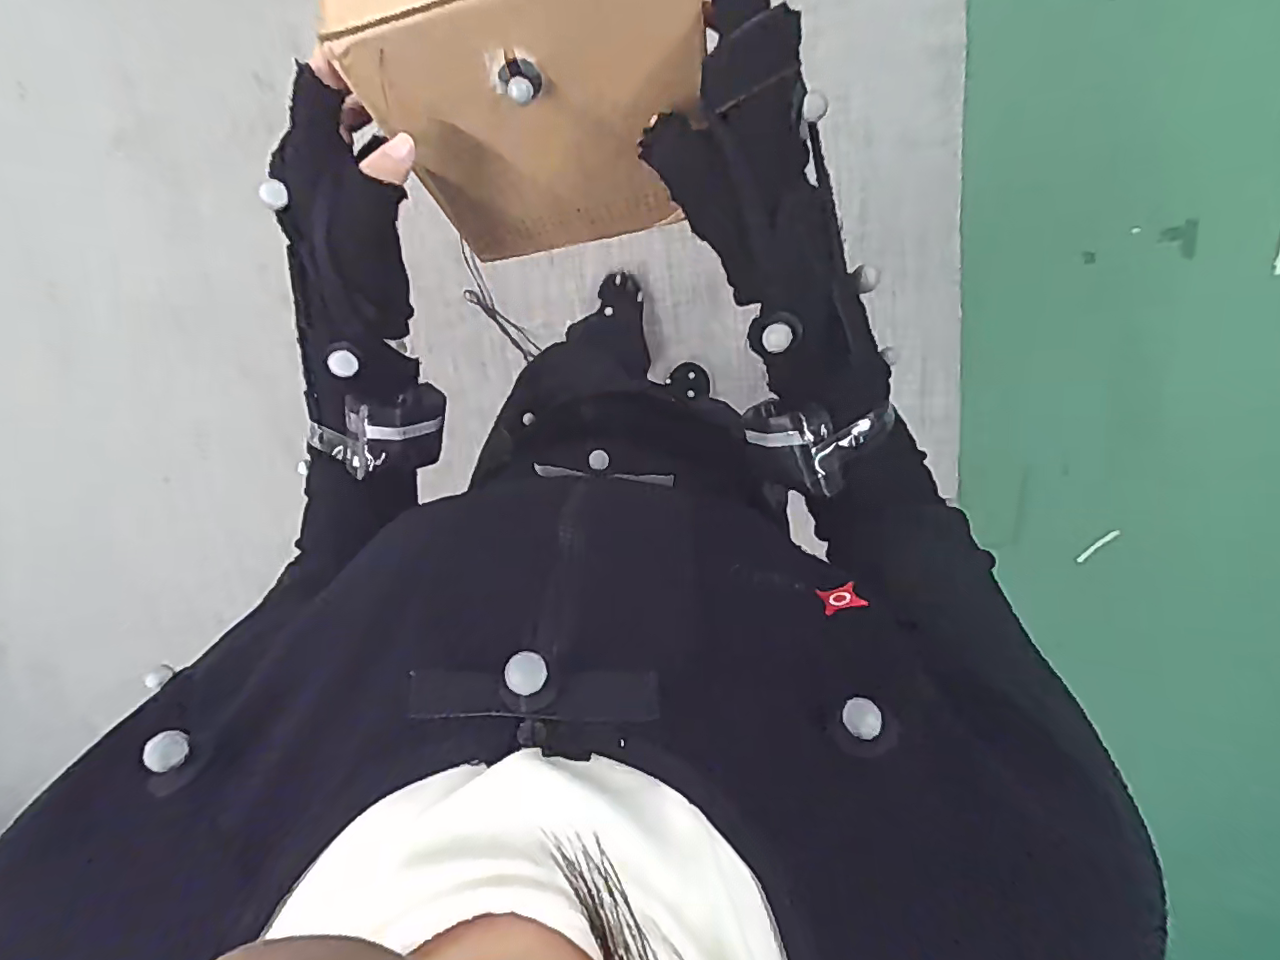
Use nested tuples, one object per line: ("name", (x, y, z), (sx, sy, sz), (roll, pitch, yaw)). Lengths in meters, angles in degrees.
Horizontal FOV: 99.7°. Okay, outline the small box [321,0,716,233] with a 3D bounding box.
("small box", (-0.053, -0.281, 0.329), (0.179, 0.176, 0.168), (-8, 76, 8))
